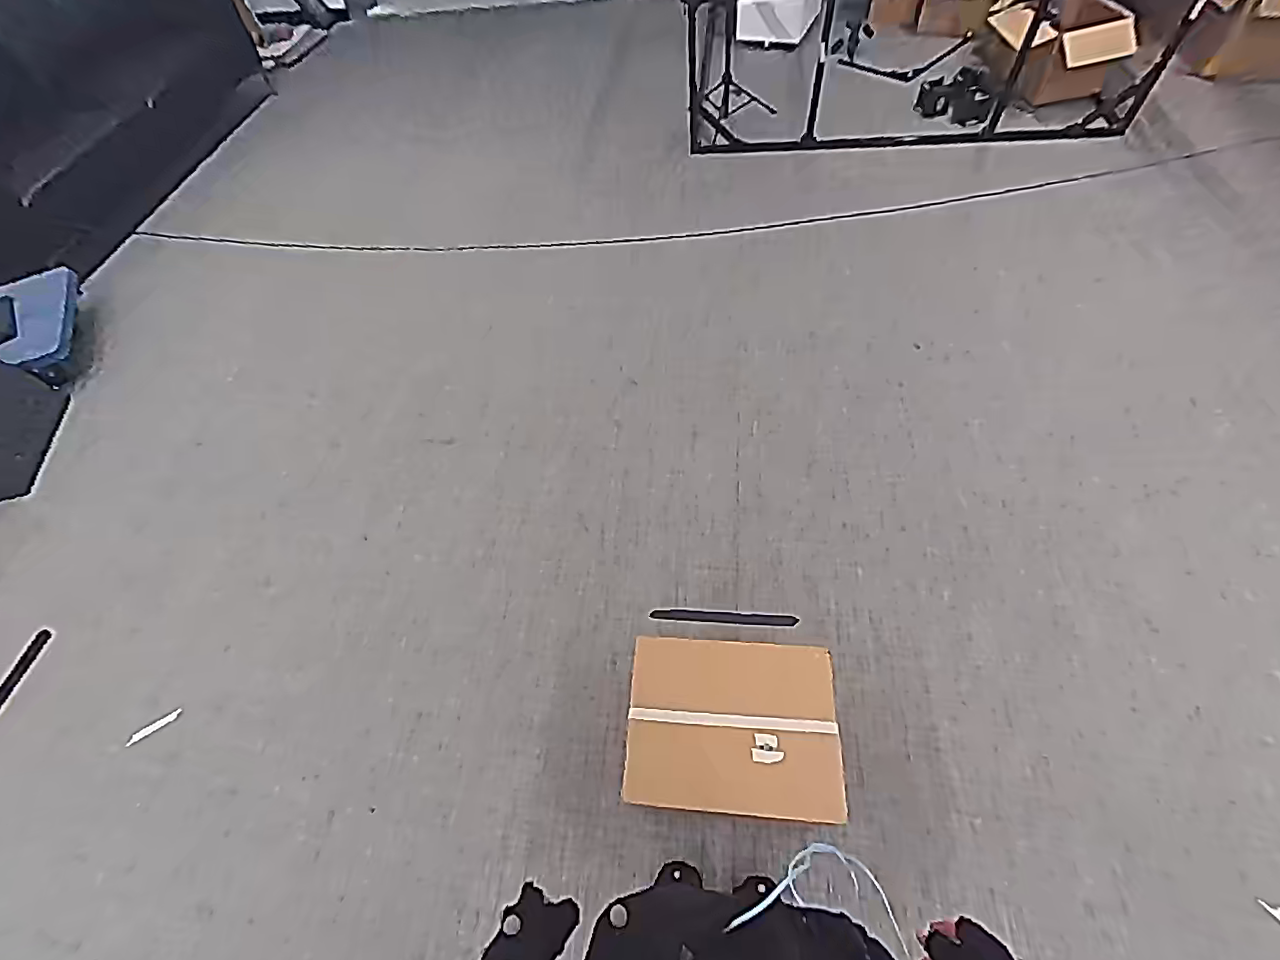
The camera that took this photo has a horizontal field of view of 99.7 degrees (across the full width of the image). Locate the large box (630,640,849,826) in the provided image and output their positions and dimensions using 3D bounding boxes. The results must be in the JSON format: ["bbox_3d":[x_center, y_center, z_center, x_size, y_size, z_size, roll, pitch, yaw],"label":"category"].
[{"bbox_3d":[0.199,0.560,1.187,0.408,0.320,0.320,2,57,7],"label":"large box"}]
